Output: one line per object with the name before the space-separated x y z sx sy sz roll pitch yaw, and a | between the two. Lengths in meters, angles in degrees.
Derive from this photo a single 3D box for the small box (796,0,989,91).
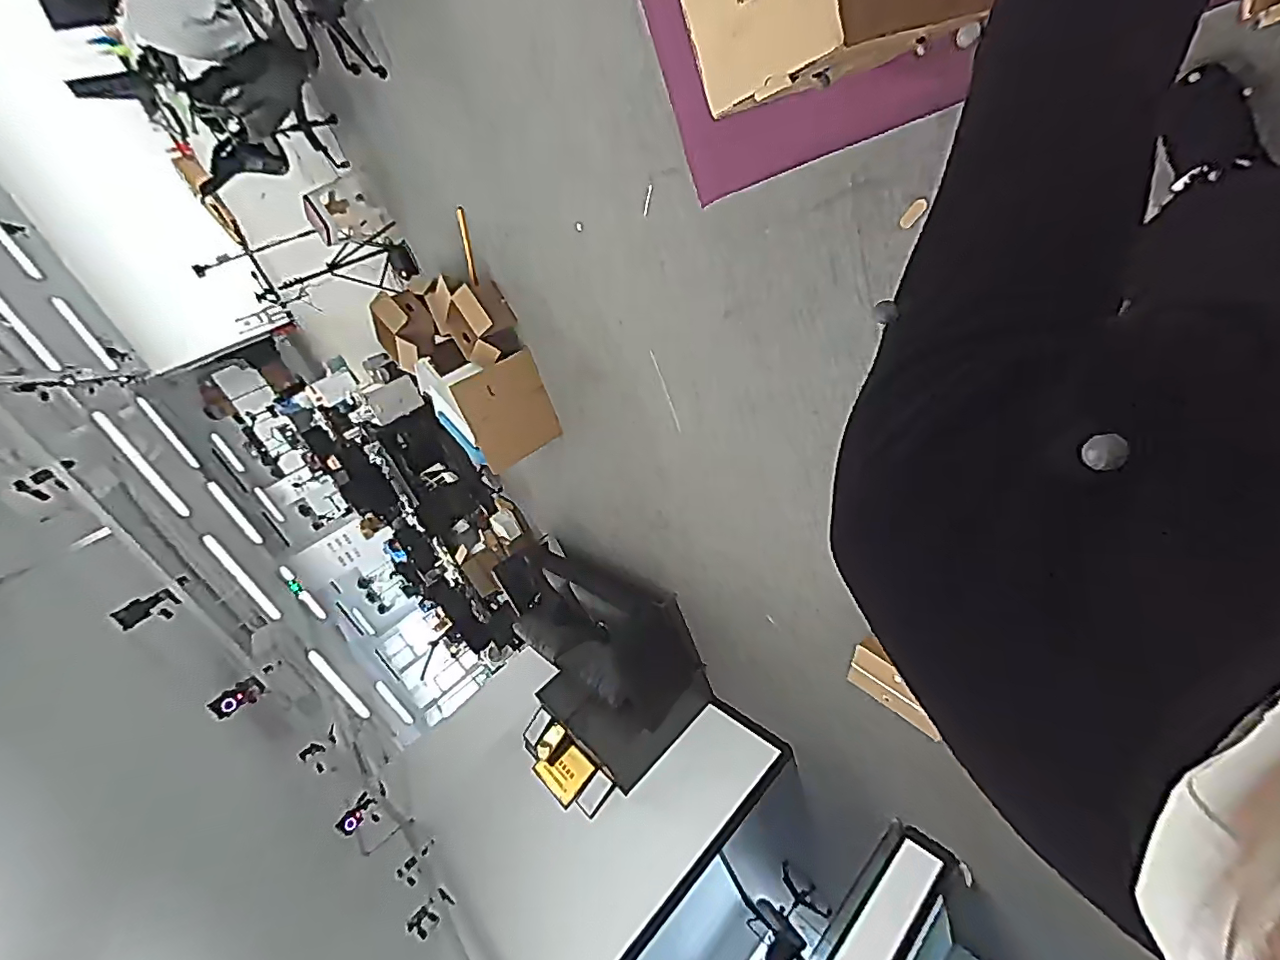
small box | 0.277 -0.587 0.617 0.168 0.176 0.179 14 131 50

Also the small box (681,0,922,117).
small box | 0.158 -0.505 0.539 0.168 0.176 0.179 13 132 50
